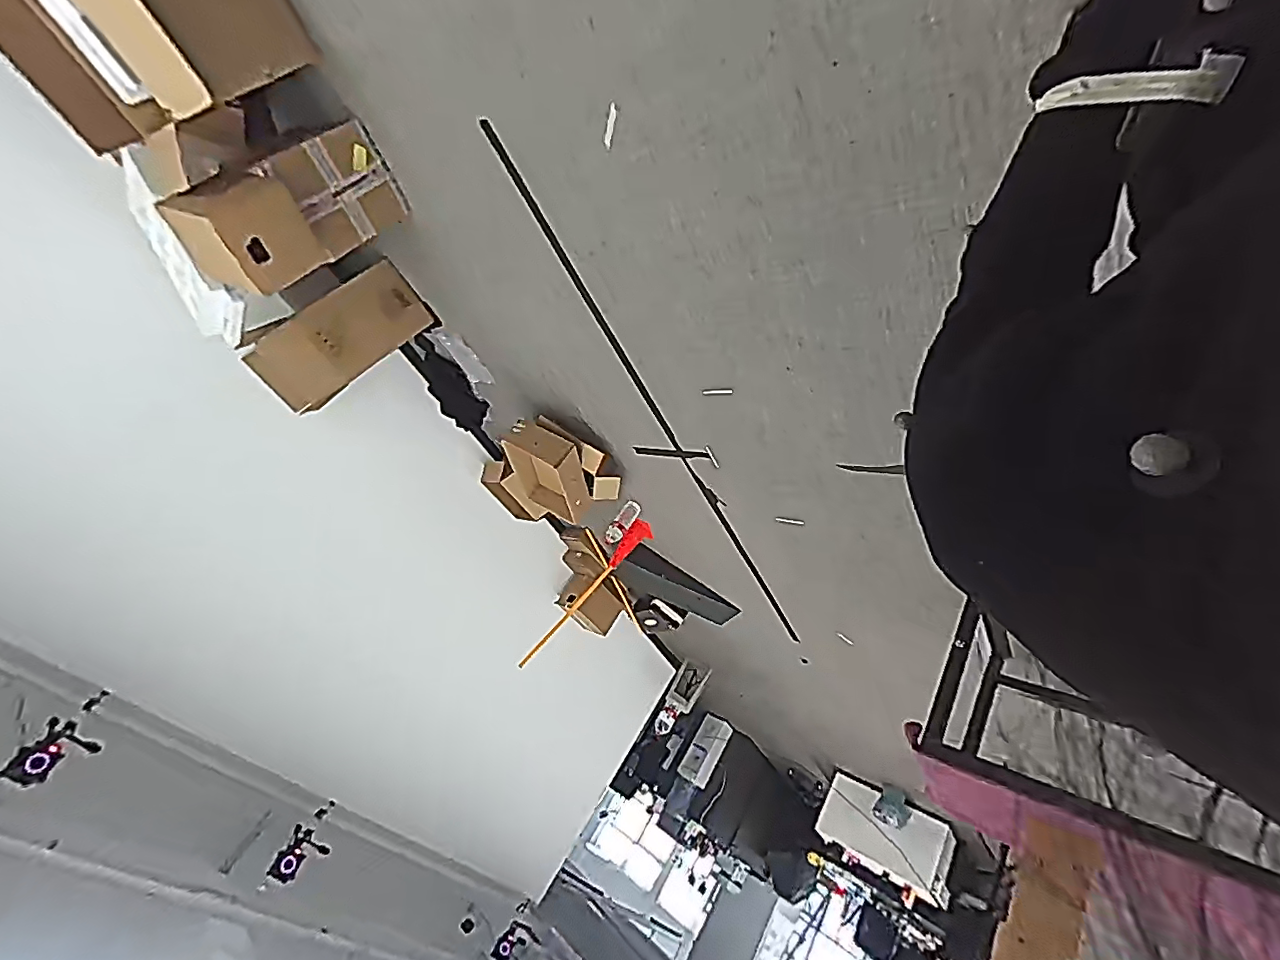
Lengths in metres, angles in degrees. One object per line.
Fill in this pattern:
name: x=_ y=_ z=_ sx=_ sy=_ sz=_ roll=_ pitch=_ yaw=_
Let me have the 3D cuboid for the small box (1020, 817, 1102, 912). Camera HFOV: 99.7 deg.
small box: x=1.330 y=1.202 z=1.706 sx=0.179 sy=0.176 sz=0.168 roll=5 pitch=140 yaw=47

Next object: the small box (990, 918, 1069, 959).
small box: x=1.139 y=1.435 z=1.577 sx=0.168 sy=0.176 sz=0.179 roll=5 pitch=140 yaw=47
